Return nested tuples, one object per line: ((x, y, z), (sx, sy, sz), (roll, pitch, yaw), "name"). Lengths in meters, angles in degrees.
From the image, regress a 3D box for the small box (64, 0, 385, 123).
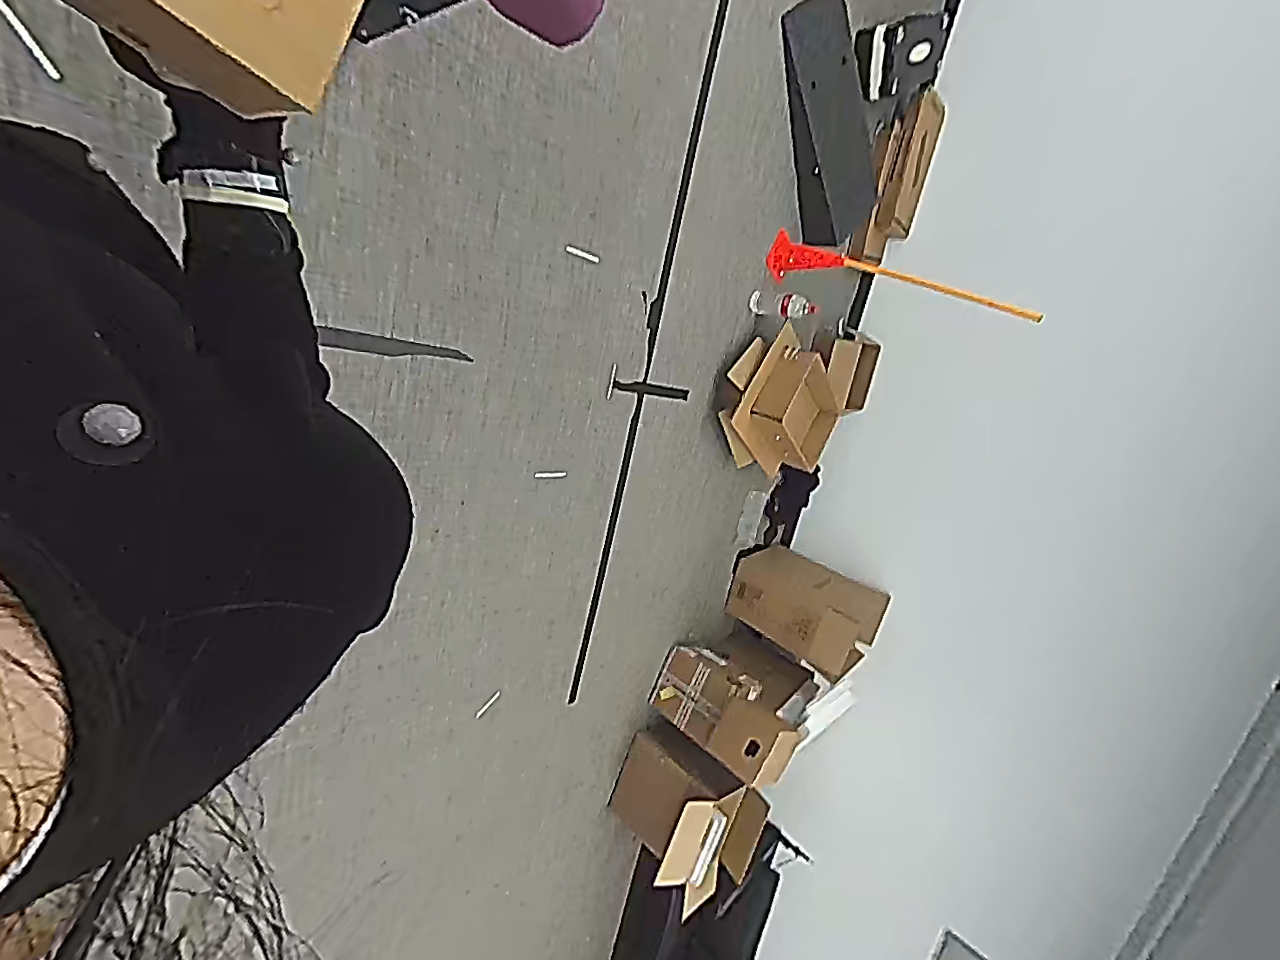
((-0.219, -0.304, 0.256), (0.168, 0.176, 0.179), (21, 96, -50), "small box")
